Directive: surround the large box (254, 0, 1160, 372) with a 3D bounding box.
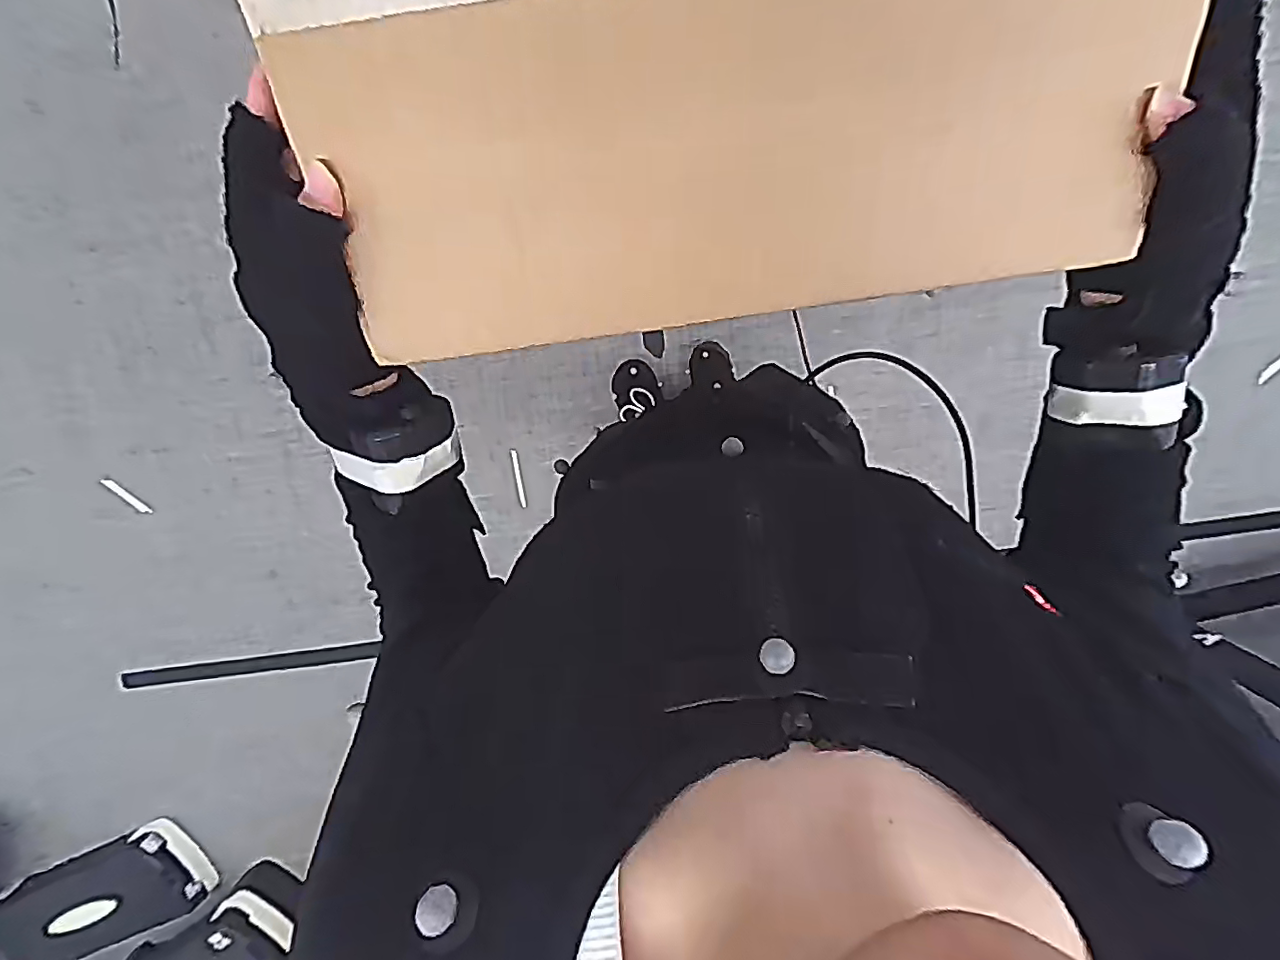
[{"bbox_3d":[0.029,-0.294,0.361,0.408,0.320,0.320,-8,117,3],"label":"large box"}]
